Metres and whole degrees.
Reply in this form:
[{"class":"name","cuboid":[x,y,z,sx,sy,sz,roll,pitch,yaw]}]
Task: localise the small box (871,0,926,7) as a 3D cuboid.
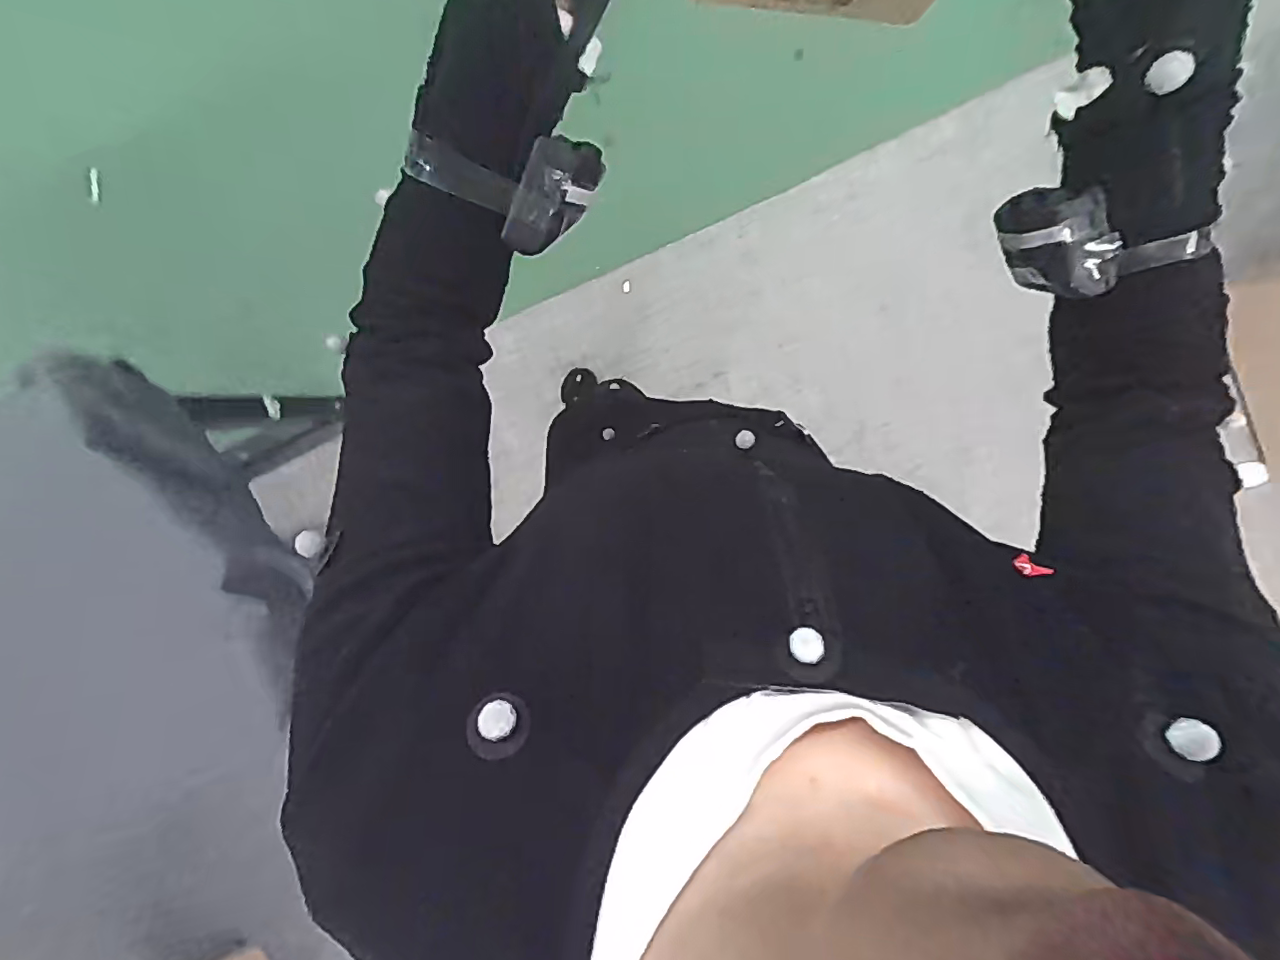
[{"class":"small box","cuboid":[0.131,-0.399,0.282,0.168,0.176,0.179,5,104,-1]}]
